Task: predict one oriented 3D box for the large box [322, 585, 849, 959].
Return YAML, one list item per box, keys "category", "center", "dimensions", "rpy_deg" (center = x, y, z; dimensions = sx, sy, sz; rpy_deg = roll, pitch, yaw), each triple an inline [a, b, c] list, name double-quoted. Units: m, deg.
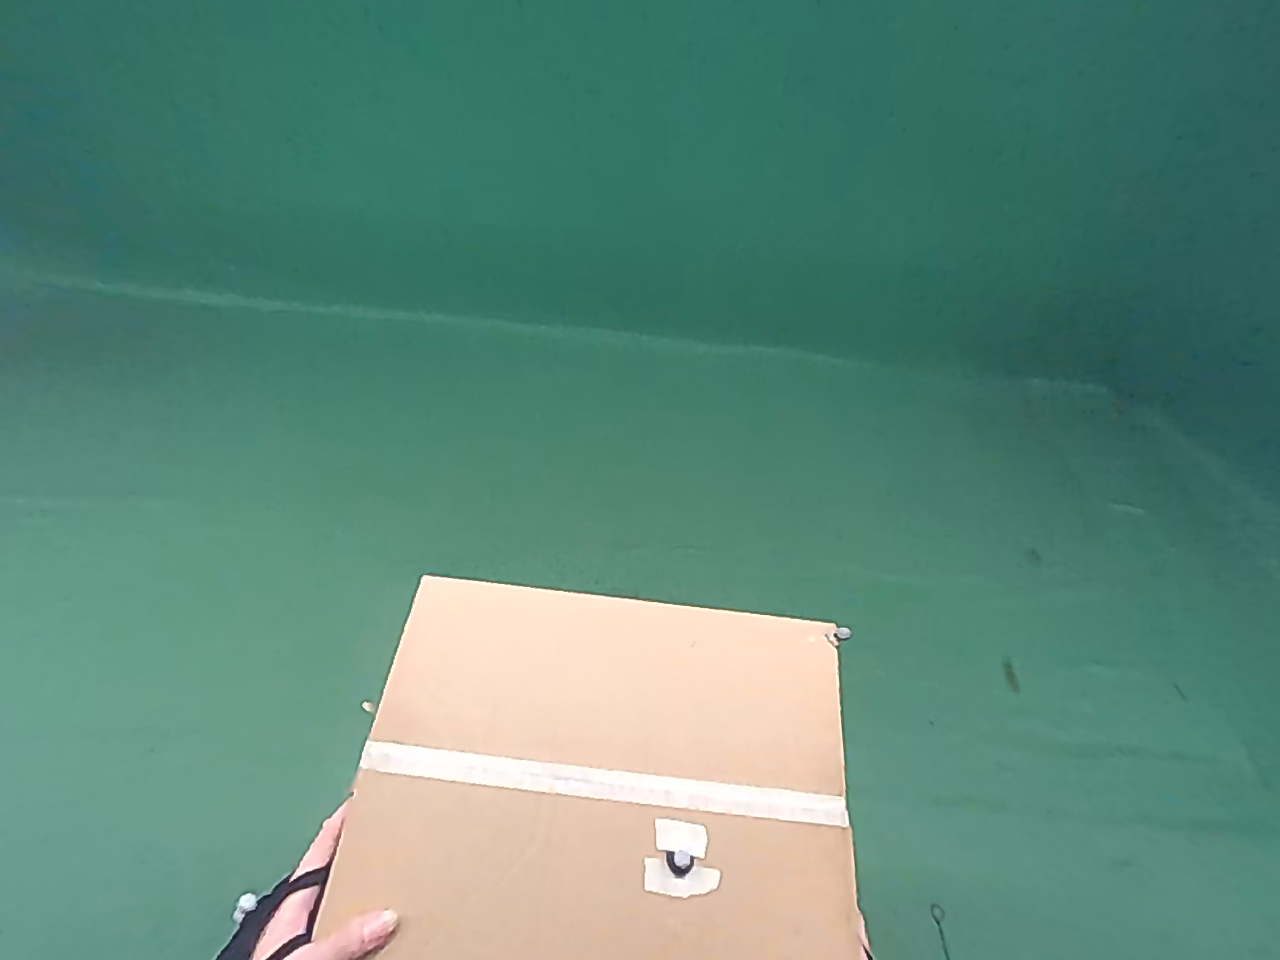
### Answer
- category: "large box"
  center: [-0.036, 0.327, 0.595]
  dimensions: [0.408, 0.320, 0.320]
  rpy_deg: [6, 62, 0]
